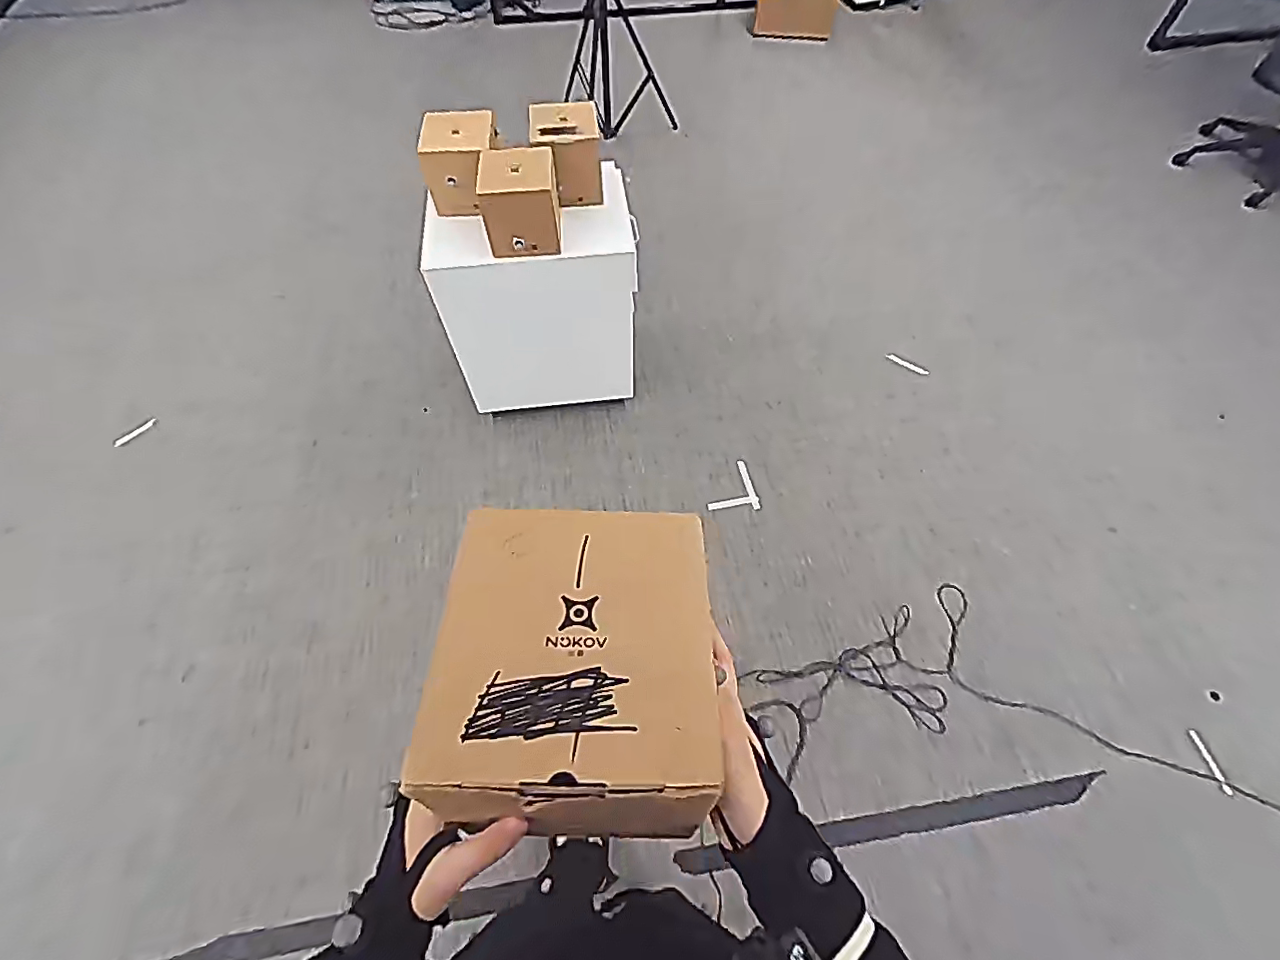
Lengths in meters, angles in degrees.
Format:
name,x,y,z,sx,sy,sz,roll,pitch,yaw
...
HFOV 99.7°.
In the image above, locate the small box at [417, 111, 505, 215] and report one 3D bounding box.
name,x,y,z,sx,sy,sz,roll,pitch,yaw
small box,-0.438,-0.784,1.350,0.168,0.176,0.179,-4,60,-3
